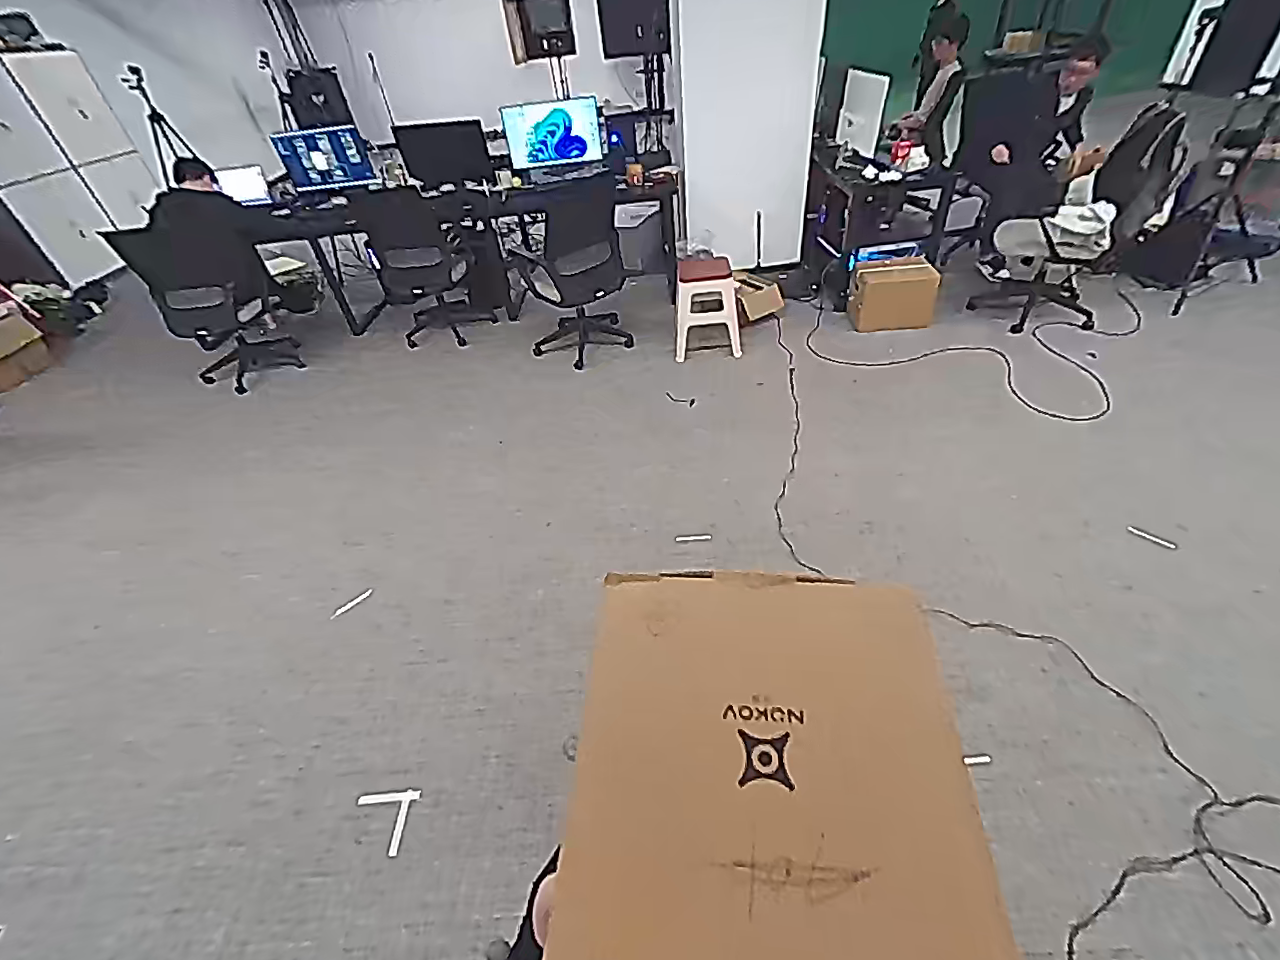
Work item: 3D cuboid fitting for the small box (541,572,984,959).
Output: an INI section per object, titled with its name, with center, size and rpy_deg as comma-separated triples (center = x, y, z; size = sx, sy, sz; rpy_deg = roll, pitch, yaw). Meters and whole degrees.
[small box]
center = 0.056, 0.174, 0.308
size = 0.168, 0.176, 0.179
rpy_deg = 2, 49, 7
